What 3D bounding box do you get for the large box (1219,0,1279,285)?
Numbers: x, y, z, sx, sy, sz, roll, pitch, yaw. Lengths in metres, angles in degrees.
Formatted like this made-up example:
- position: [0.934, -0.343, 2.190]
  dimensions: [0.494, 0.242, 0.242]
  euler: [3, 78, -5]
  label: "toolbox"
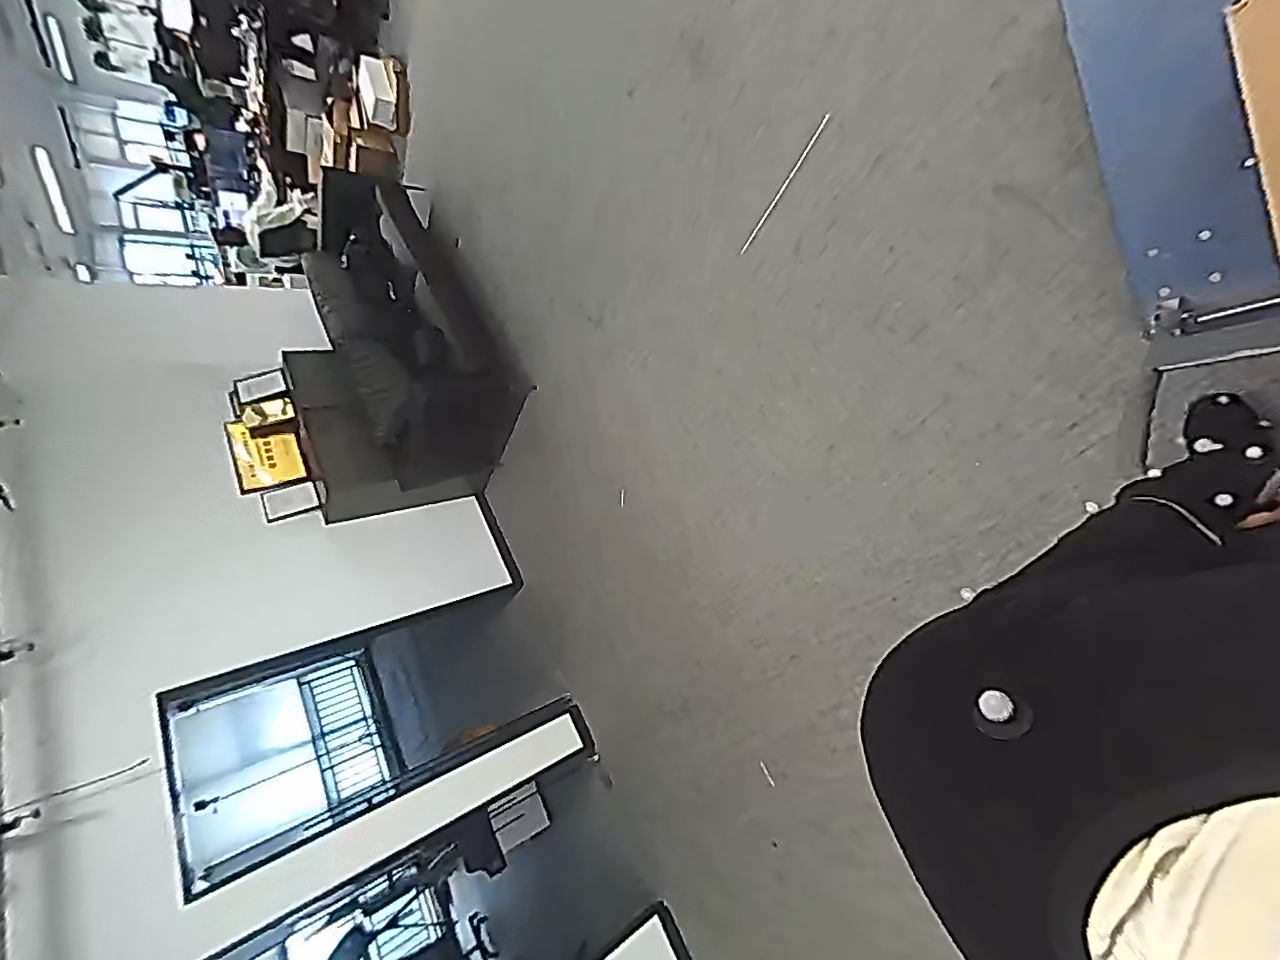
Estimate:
- position: [1.040, -0.498, 0.707]
  dimensions: [0.320, 0.320, 0.408]
  euler: [-13, 103, 52]
  label: "large box"
